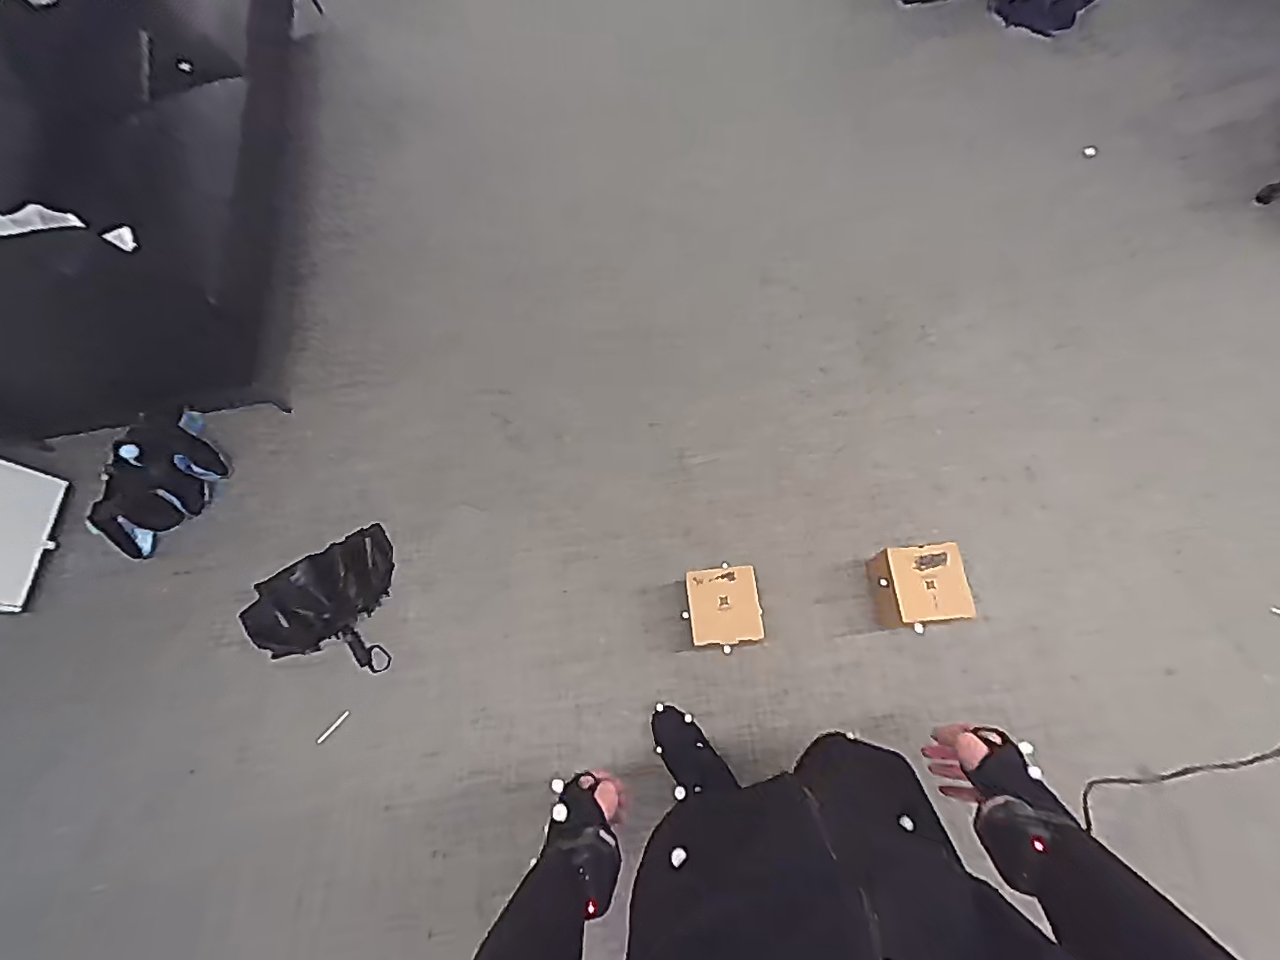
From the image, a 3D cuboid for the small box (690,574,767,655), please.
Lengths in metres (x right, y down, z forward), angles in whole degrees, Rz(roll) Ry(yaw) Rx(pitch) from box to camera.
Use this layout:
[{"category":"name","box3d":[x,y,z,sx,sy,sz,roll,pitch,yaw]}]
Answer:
[{"category":"small box","box3d":[0.218,0.342,1.358,0.168,0.176,0.179,-7,69,4]}]

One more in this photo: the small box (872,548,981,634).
[{"category":"small box","box3d":[0.690,0.277,1.327,0.168,0.176,0.179,-7,70,5]}]
